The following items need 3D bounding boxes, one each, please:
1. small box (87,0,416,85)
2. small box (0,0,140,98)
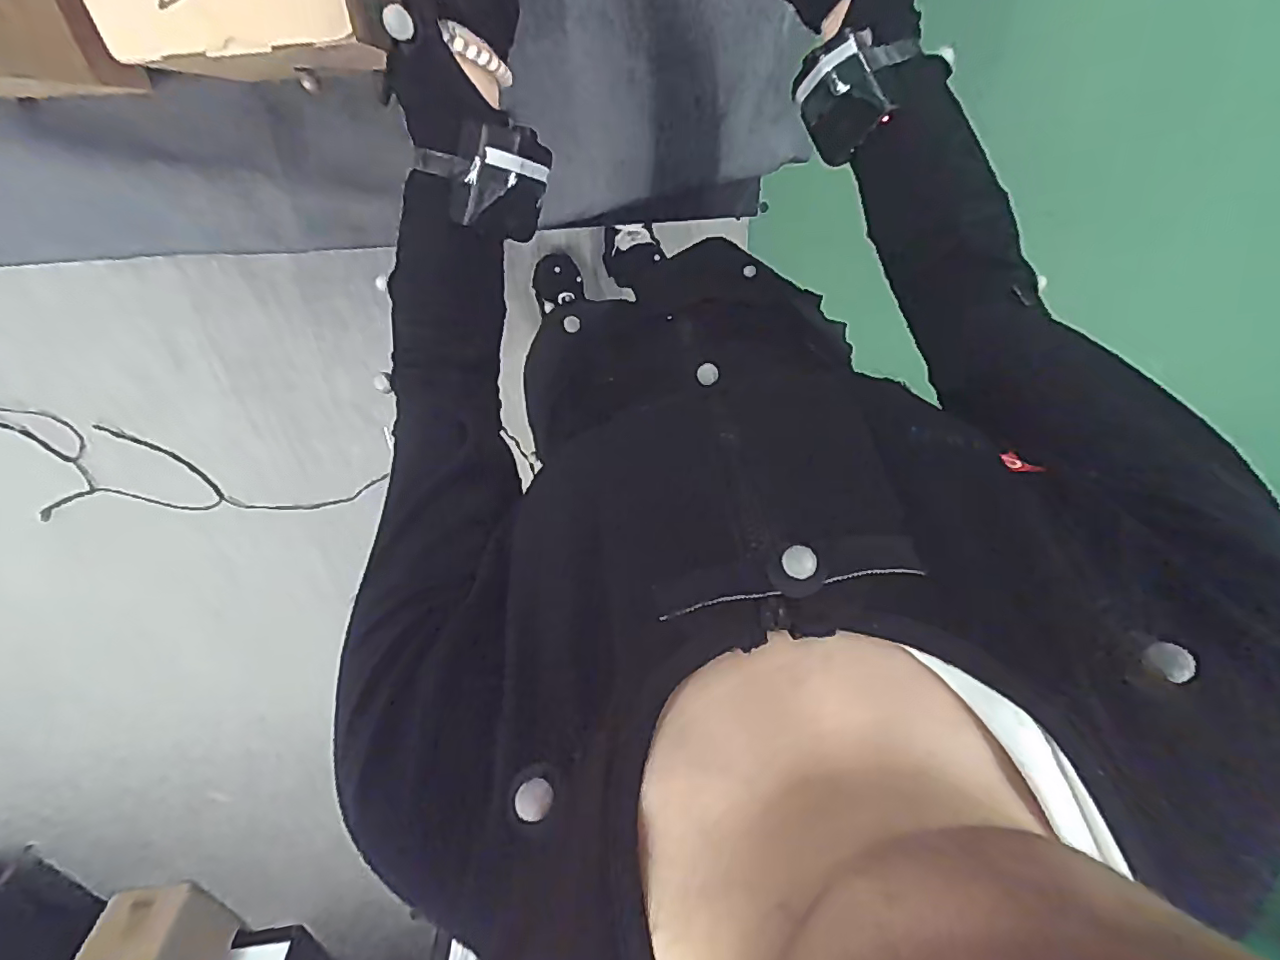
[{"bbox_3d":[-0.283,-0.403,0.388,0.168,0.176,0.179,-6,123,-2],"label":"small box"},{"bbox_3d":[-0.525,-0.378,0.380,0.168,0.176,0.179,-5,123,-3],"label":"small box"}]
